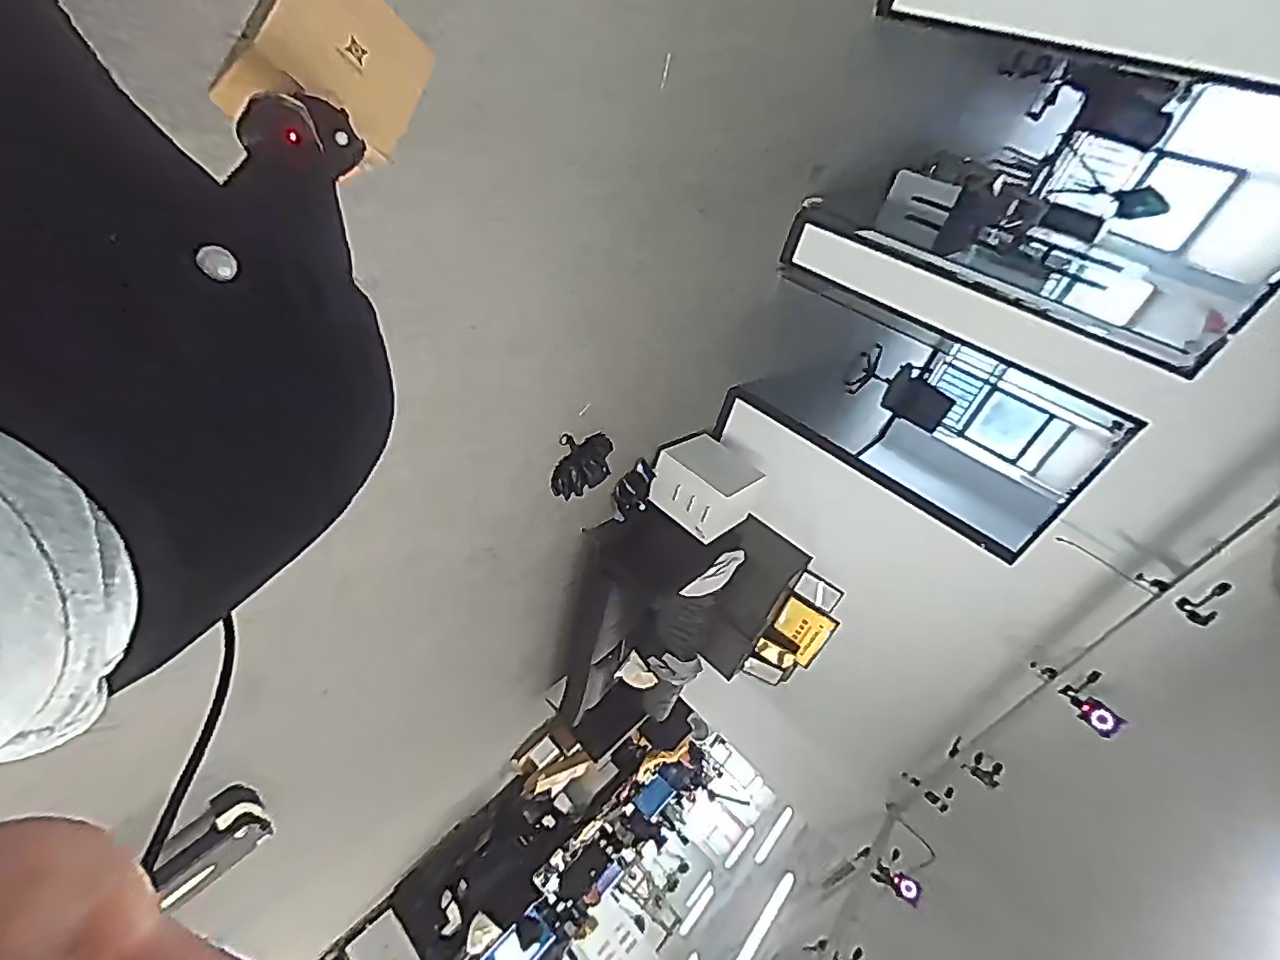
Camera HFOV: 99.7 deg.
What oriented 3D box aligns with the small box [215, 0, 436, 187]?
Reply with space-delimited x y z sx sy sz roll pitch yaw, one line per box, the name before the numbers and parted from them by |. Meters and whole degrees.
small box | -0.405 -0.516 0.696 0.168 0.176 0.179 32 69 -52
